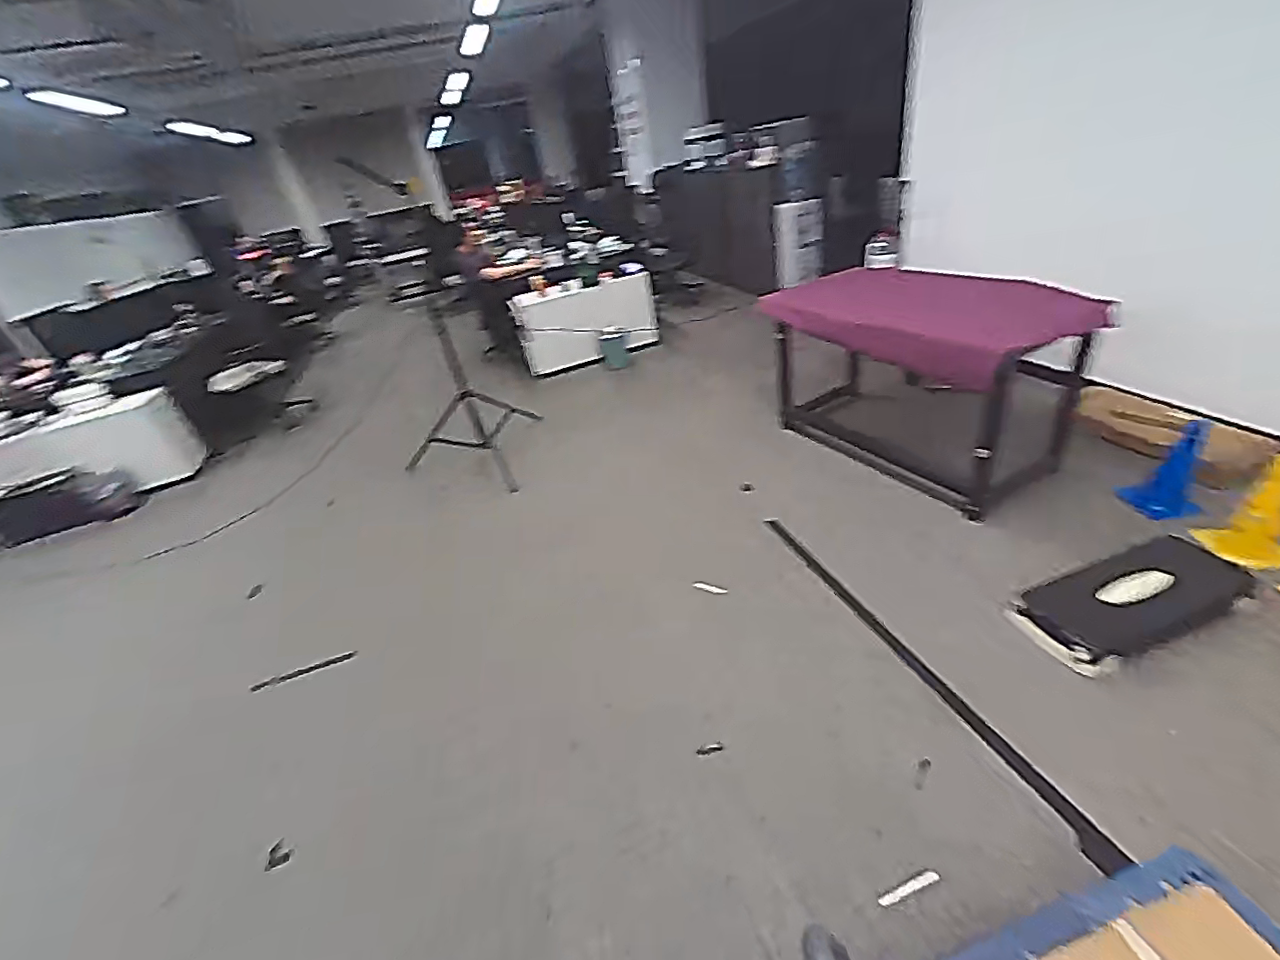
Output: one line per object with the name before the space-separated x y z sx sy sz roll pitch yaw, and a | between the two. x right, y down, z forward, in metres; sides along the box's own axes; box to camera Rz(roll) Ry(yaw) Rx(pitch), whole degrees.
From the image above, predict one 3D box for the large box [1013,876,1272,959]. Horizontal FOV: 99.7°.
large box | 0.757 0.856 0.704 0.320 0.320 0.408 -16 32 -8
